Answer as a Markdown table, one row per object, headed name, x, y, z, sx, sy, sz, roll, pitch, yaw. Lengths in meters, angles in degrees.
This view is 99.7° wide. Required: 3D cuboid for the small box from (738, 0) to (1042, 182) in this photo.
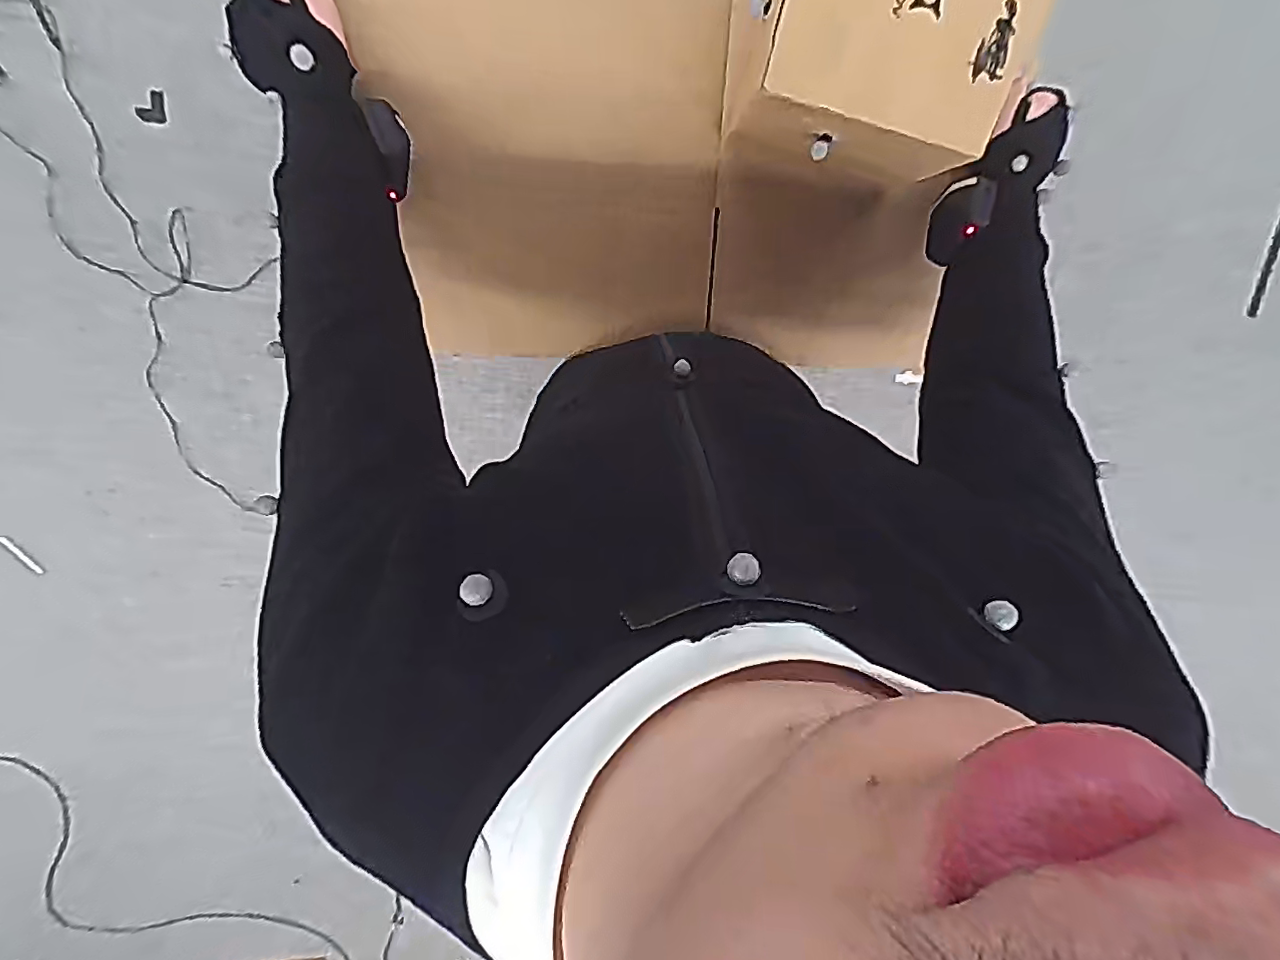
| name | x | y | z | sx | sy | sz | roll | pitch | yaw |
| --- | --- | --- | --- | --- | --- | --- | --- | --- | --- |
| small box | 0.193 | -0.367 | 0.449 | 0.179 | 0.176 | 0.168 | 14 | 110 | -4 |
